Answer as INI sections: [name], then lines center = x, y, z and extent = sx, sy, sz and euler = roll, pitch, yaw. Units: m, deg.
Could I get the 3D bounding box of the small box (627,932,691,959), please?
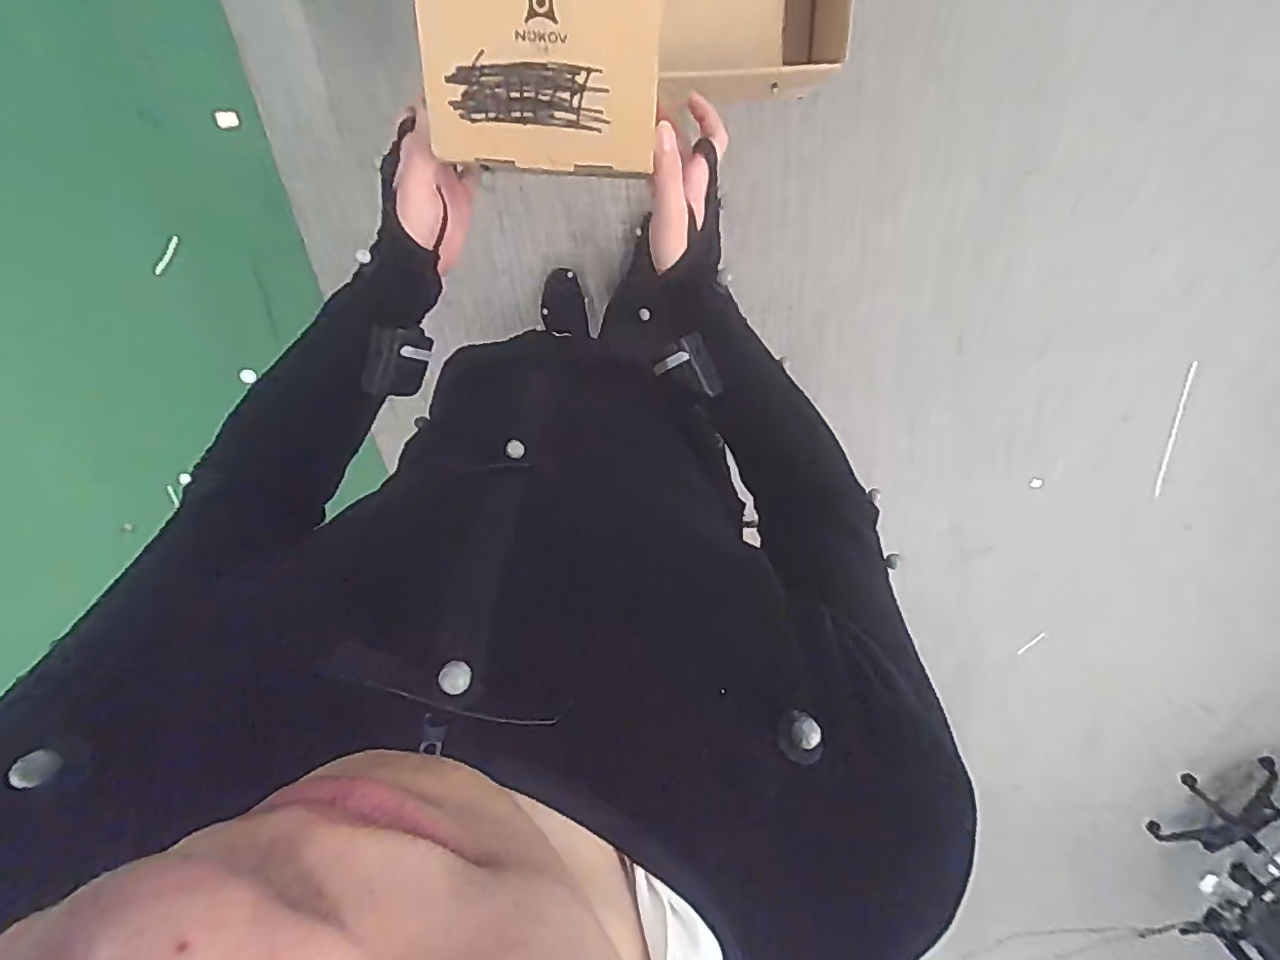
[small box]
center = 0.061, 1.388, 1.483
extent = 0.168, 0.176, 0.179
euler = -11, 116, 1
